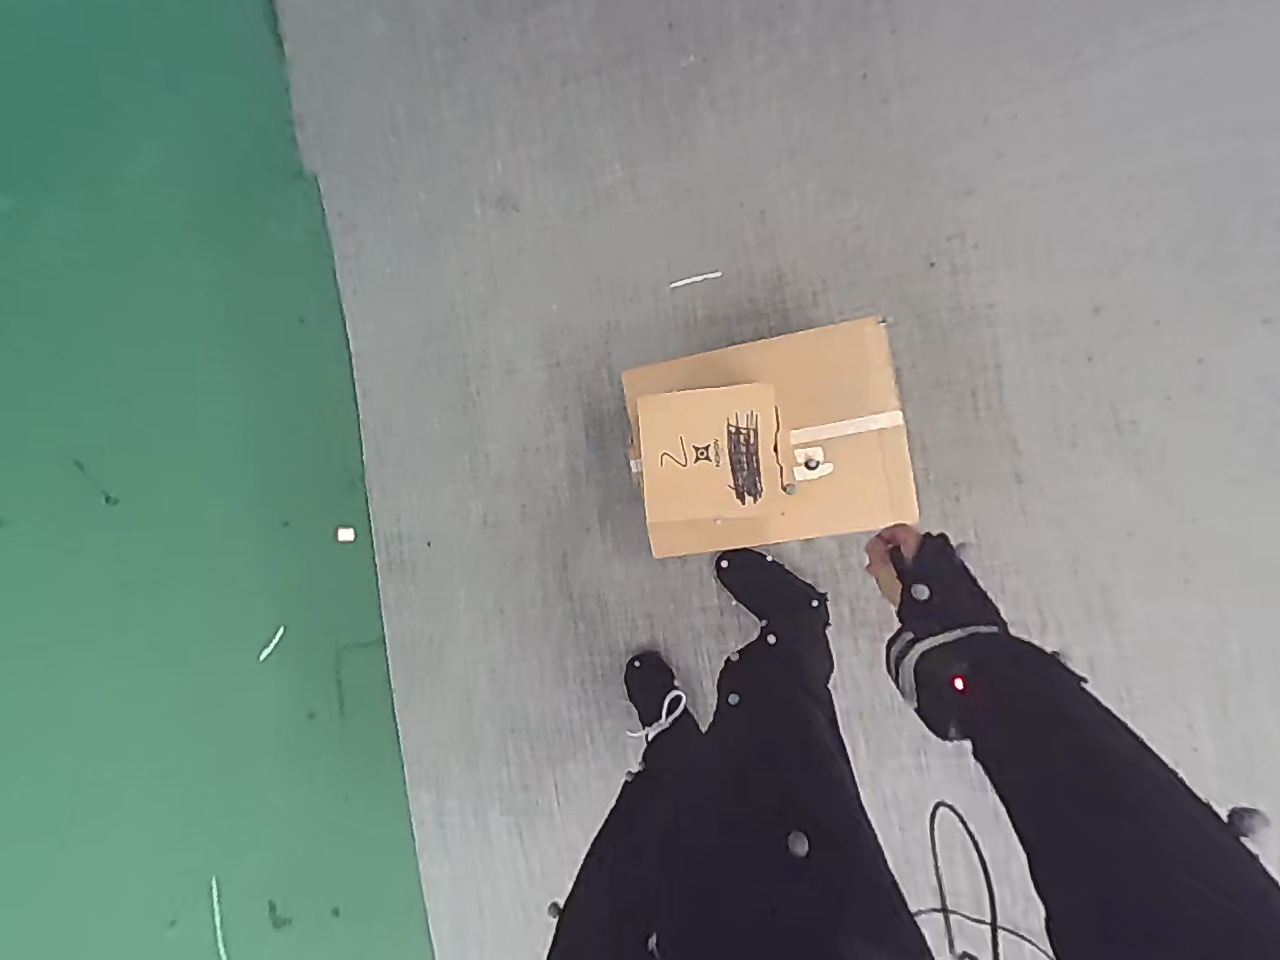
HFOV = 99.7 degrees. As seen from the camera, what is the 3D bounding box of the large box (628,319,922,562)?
[{"bbox_3d":[0.225,-0.053,0.974,0.408,0.320,0.320,-10,89,12],"label":"large box"}]
